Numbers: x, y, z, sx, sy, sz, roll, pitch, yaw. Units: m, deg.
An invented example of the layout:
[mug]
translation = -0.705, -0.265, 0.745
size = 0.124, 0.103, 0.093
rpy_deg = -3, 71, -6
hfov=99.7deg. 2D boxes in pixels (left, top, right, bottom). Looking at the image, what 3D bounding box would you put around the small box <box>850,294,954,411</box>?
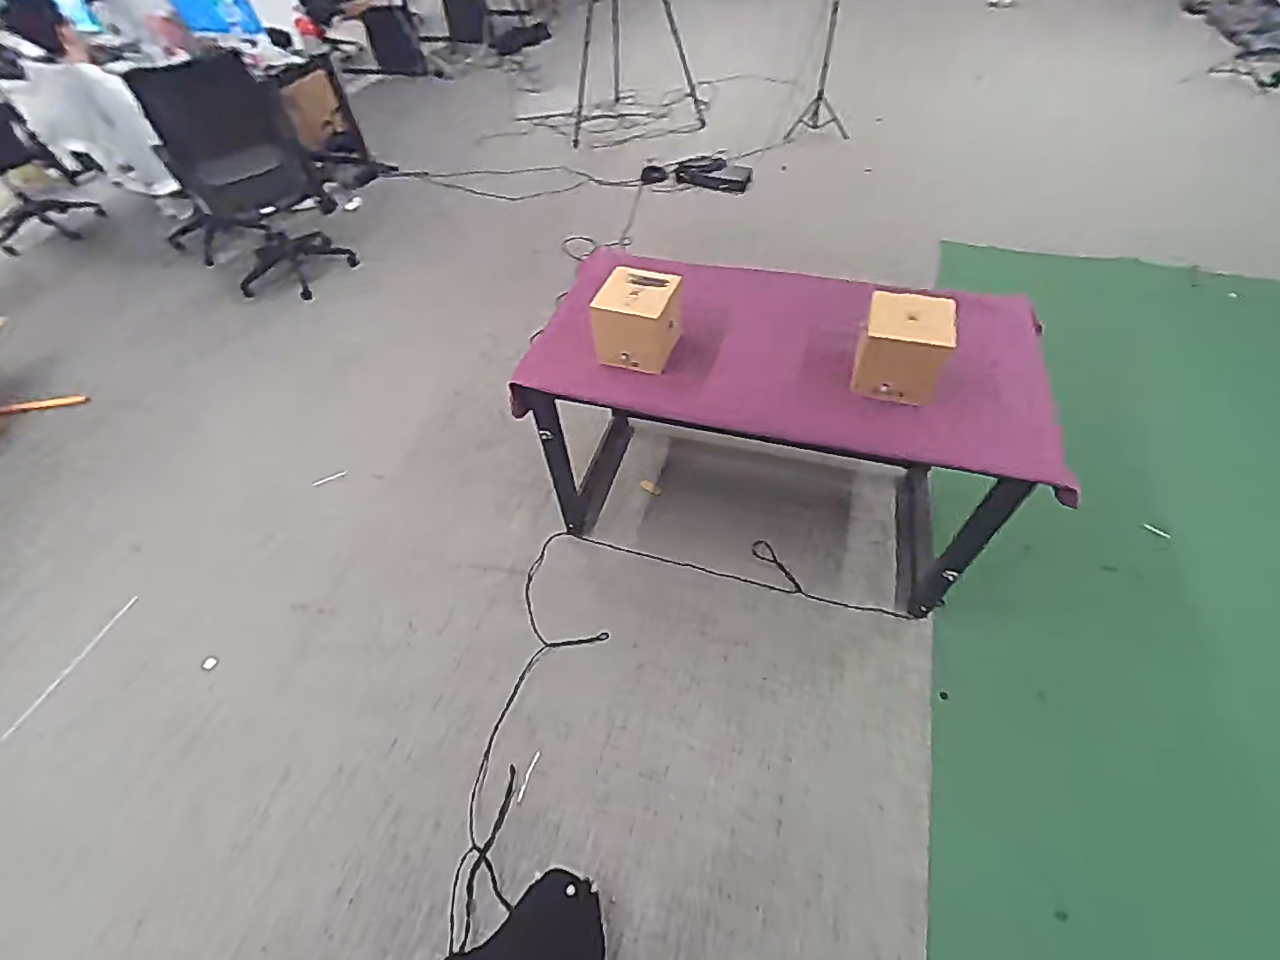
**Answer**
[small box]
translation = 0.575, -0.283, 1.198
size = 0.168, 0.176, 0.179
rpy_deg = 13, 53, 16
